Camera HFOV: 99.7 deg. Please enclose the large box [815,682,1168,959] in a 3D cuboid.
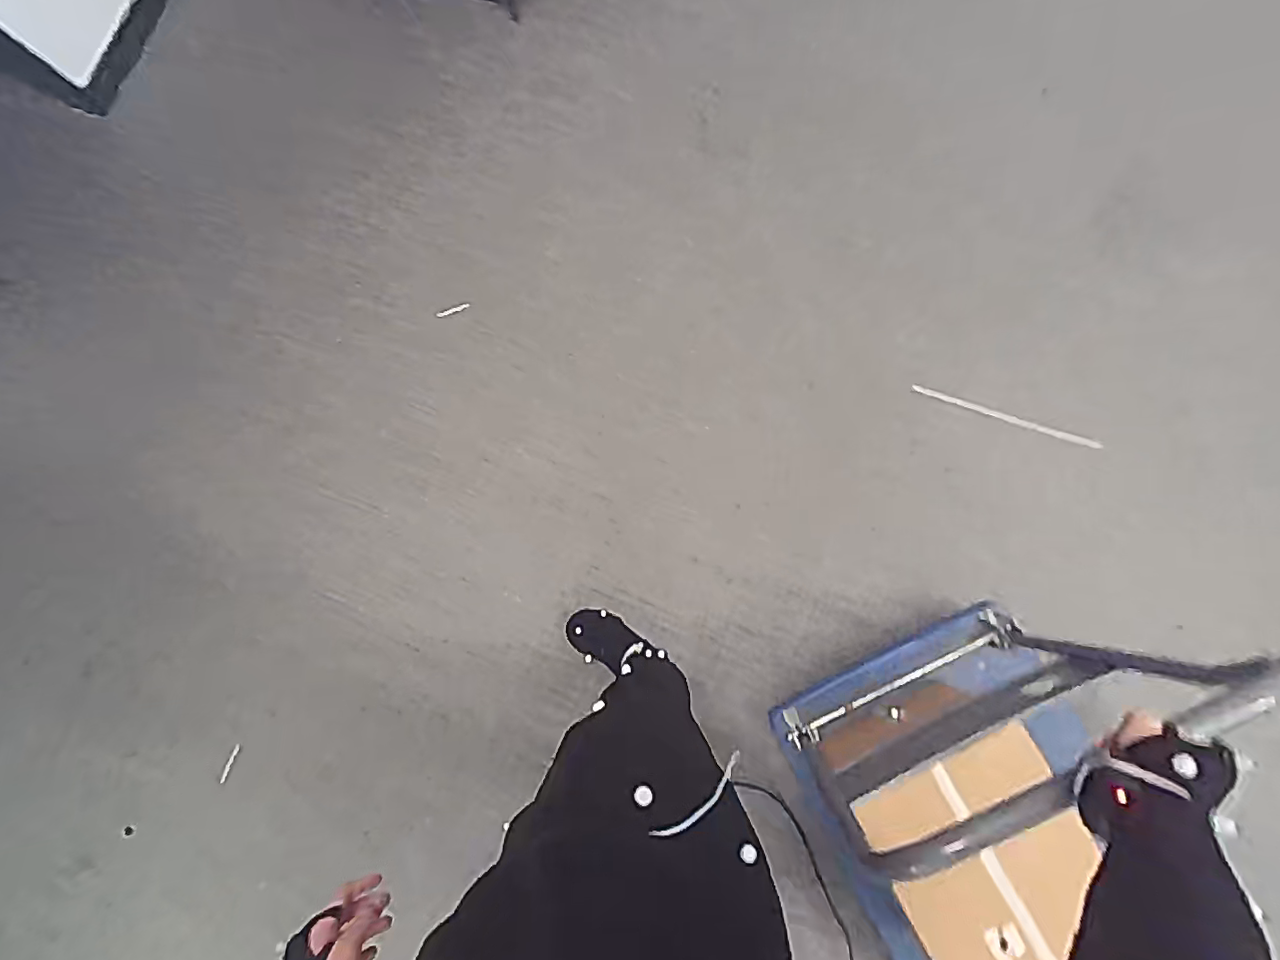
[{"bbox_3d":[0.586,0.653,0.994,0.320,0.320,0.408,-28,80,2],"label":"large box"}]
